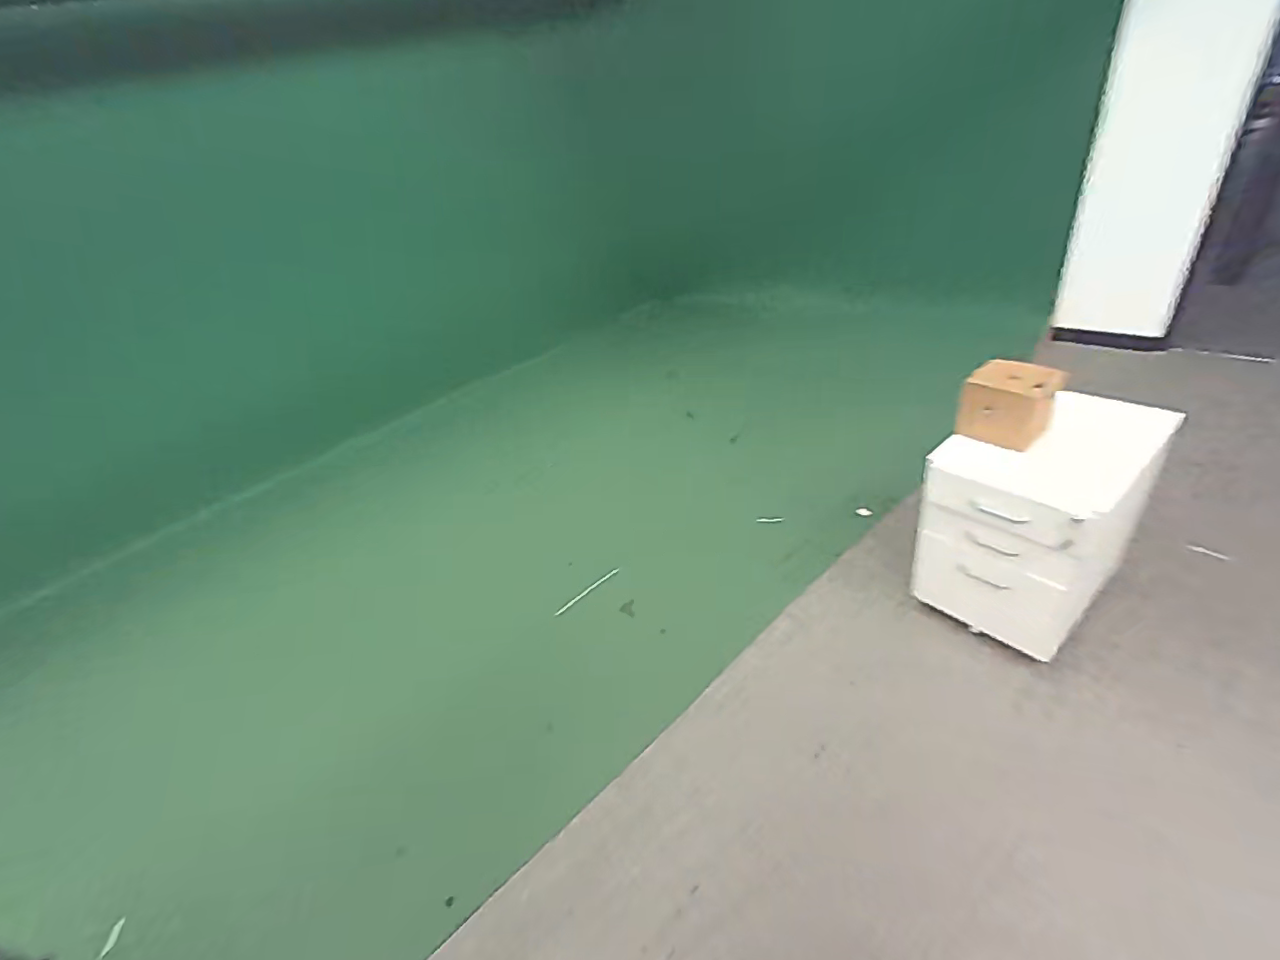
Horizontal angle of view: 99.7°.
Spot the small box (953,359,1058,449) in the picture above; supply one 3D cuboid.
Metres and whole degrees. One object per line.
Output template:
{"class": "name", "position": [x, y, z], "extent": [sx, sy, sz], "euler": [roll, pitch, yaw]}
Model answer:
{"class": "small box", "position": [0.978, -0.206, 1.464], "extent": [0.168, 0.176, 0.179], "euler": [-33, 40, -25]}
